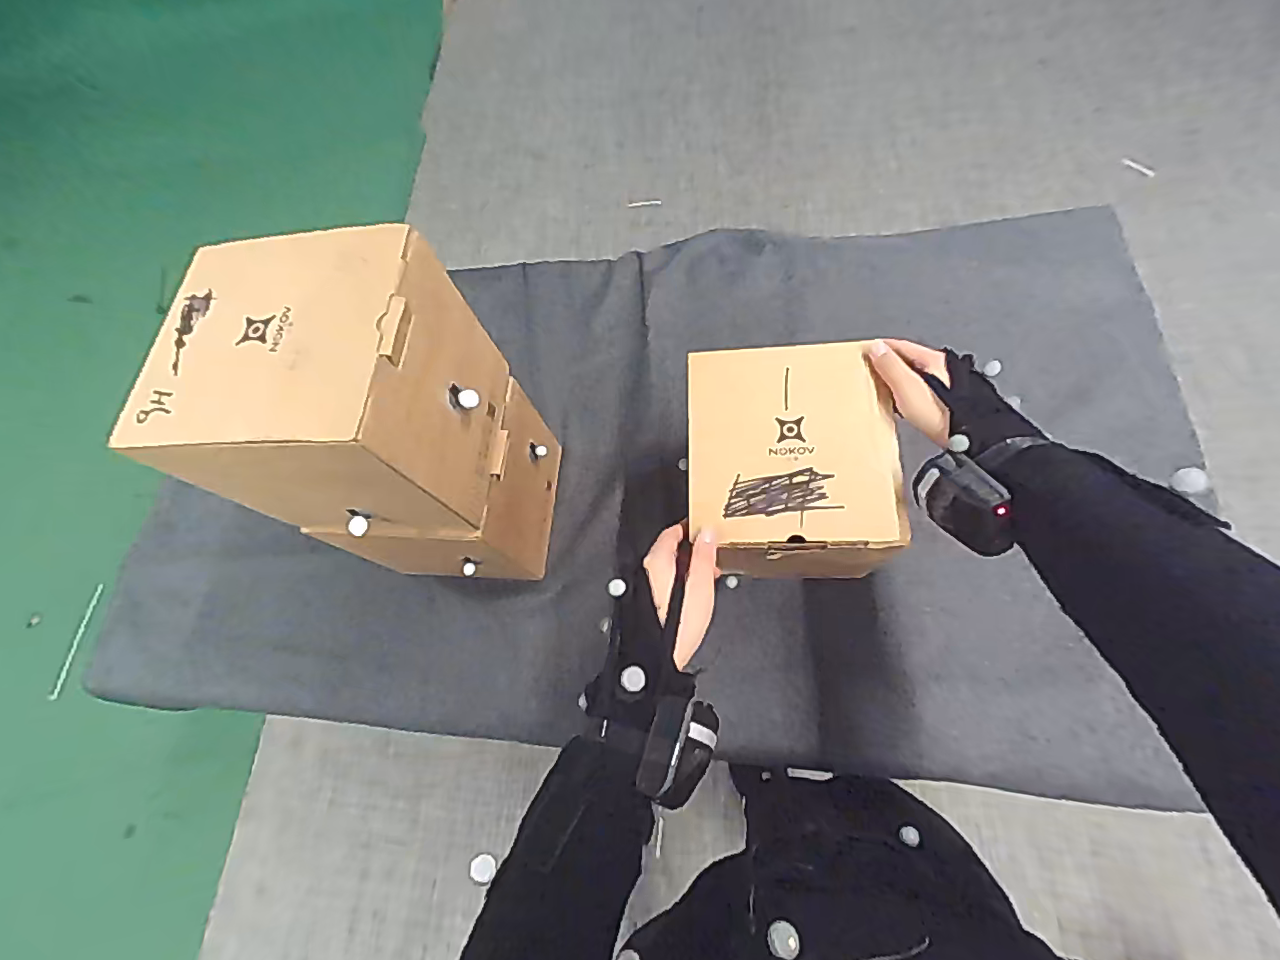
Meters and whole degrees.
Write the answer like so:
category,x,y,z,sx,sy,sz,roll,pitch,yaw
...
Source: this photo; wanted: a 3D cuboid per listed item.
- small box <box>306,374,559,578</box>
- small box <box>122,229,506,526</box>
category,x,y,z,sx,sy,sz,roll,pitch,yaw
small box,-0.197,0.004,0.573,0.179,0.176,0.168,0,66,11
small box,-0.223,-0.066,0.427,0.179,0.176,0.168,0,67,9
